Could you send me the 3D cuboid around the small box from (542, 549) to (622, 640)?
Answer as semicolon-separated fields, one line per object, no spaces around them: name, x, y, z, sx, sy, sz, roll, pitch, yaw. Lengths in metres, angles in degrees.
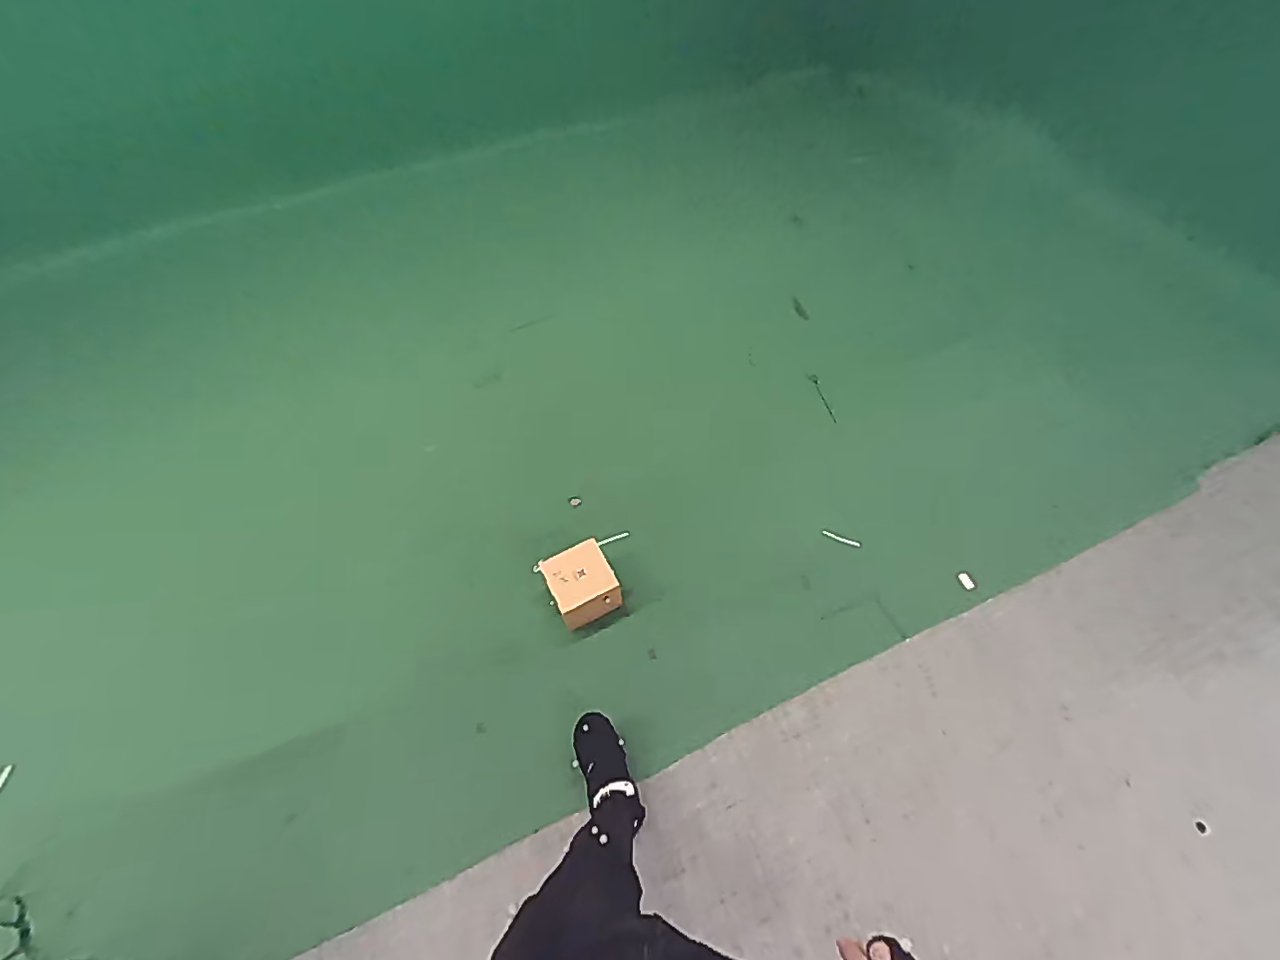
small box;-0.163;0.333;1.555;0.179;0.176;0.168;-25;60;-14
